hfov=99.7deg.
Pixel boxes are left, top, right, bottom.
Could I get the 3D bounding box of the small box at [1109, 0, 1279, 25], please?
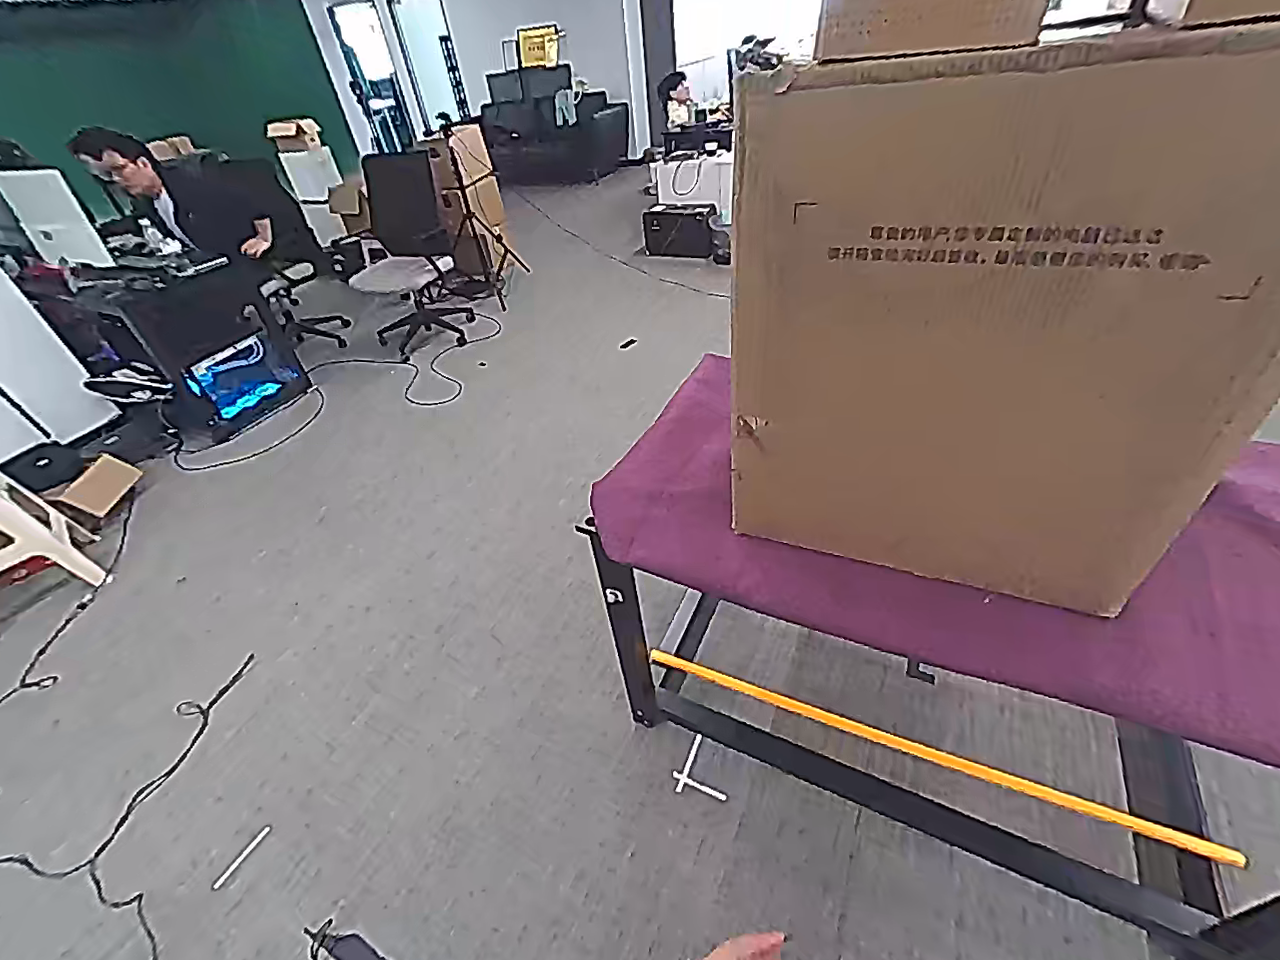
[{"bbox_3d":[0.578,-0.544,0.505,0.168,0.176,0.179,13,44,25],"label":"small box"}]
